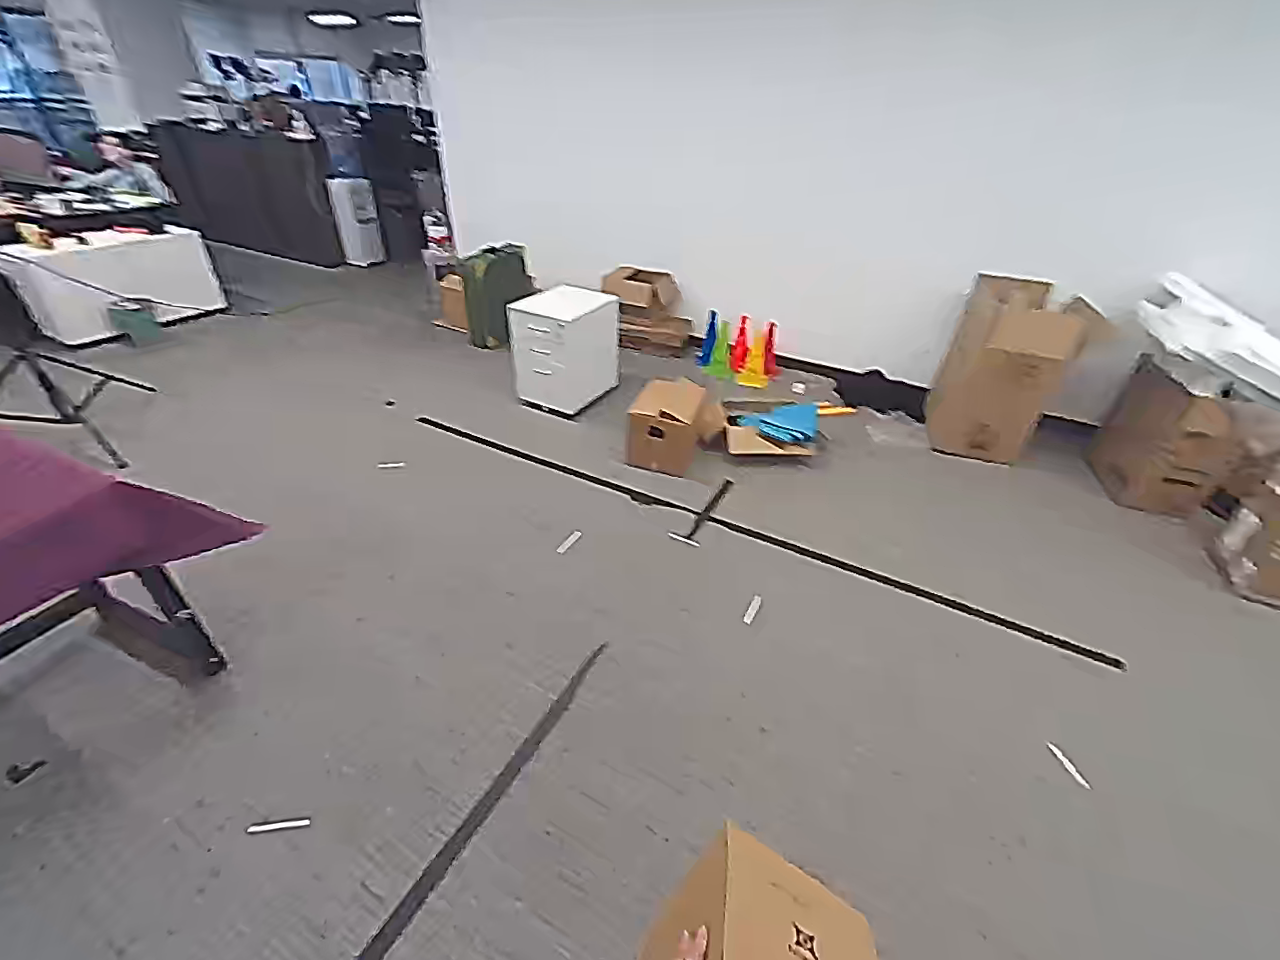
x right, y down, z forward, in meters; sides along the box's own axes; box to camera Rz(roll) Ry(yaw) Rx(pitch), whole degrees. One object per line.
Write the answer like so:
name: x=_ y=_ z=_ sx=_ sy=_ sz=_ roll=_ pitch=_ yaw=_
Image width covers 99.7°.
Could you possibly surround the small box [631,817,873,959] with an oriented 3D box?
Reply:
small box: x=0.090 y=0.458 z=0.468 sx=0.168 sy=0.176 sz=0.179 roll=32 pitch=7 yaw=6
